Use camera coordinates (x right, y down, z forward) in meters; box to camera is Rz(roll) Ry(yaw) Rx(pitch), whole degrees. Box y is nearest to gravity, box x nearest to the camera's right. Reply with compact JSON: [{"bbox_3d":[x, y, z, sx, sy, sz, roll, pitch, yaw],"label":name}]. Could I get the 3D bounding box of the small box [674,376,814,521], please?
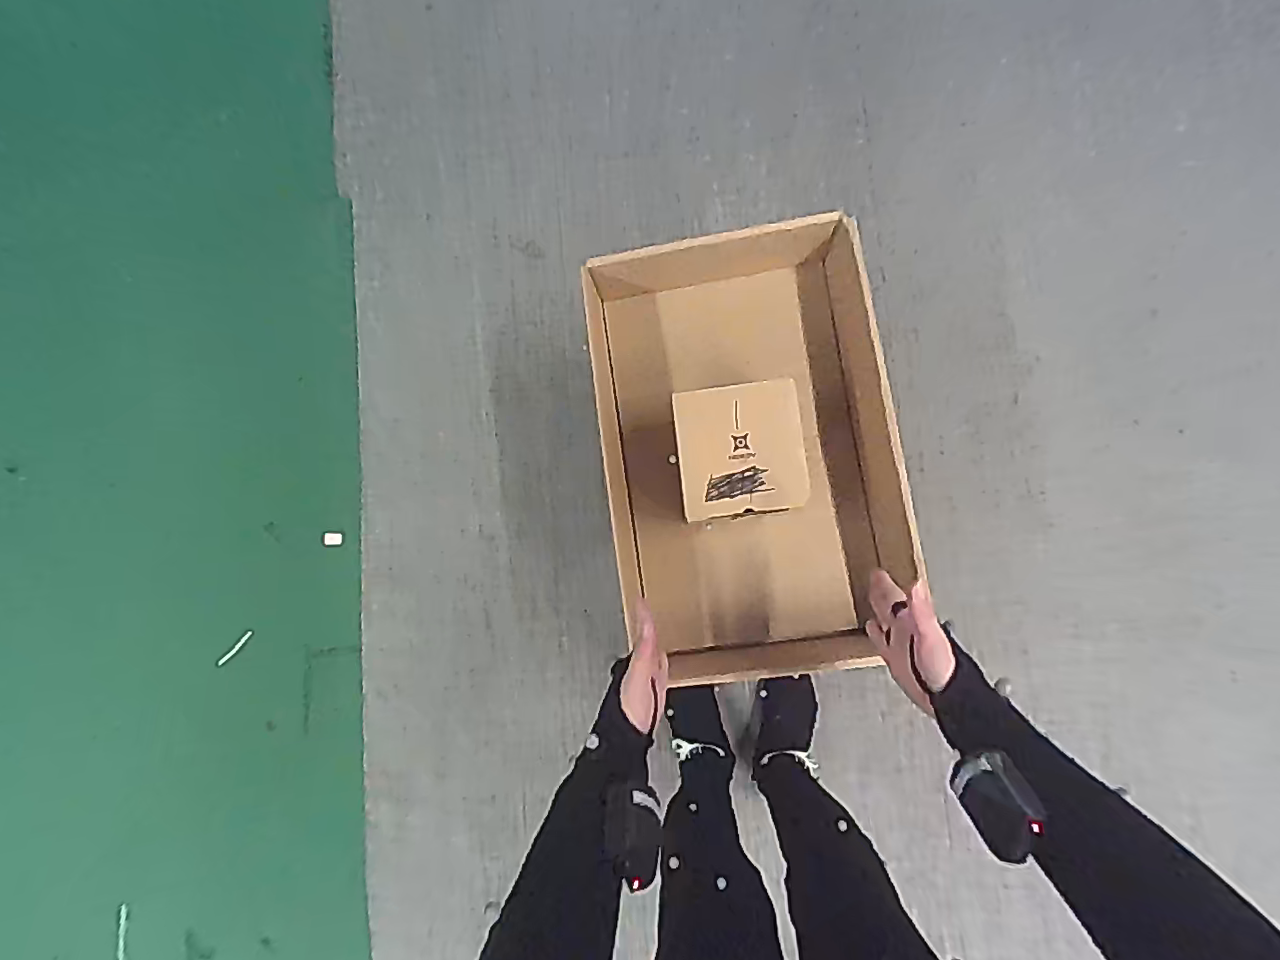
[{"bbox_3d":[0.143,-0.034,0.782,0.168,0.176,0.179,-7,83,5],"label":"small box"}]
